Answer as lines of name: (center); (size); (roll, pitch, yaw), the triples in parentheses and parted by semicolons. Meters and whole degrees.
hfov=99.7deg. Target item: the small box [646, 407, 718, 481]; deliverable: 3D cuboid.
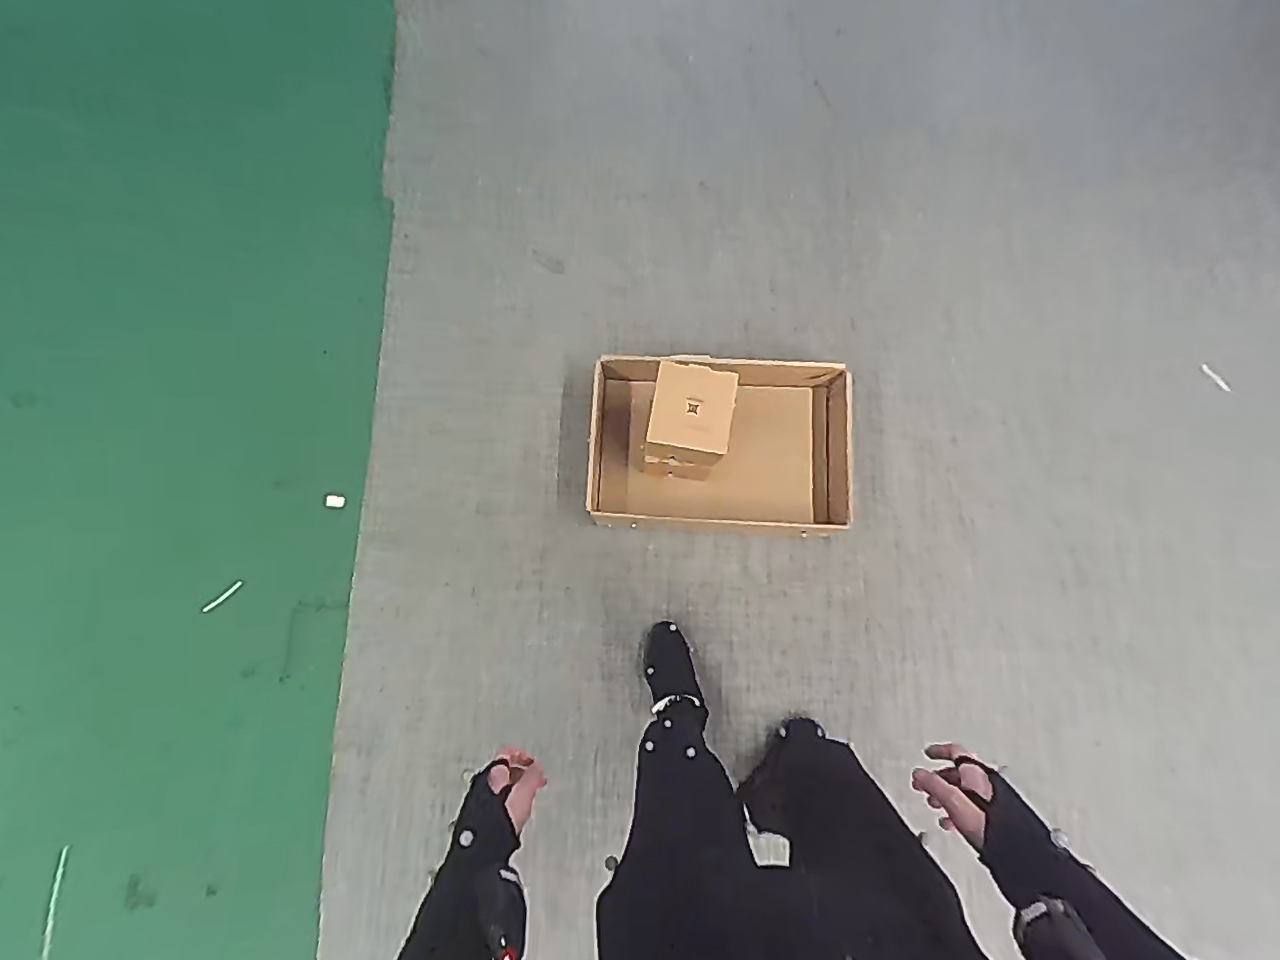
small box: (0.106, -0.102, 1.335); (0.168, 0.176, 0.179); (7, 81, -1)

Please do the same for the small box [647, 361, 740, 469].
small box: (0.110, -0.134, 1.174); (0.168, 0.176, 0.179); (10, 81, 1)
